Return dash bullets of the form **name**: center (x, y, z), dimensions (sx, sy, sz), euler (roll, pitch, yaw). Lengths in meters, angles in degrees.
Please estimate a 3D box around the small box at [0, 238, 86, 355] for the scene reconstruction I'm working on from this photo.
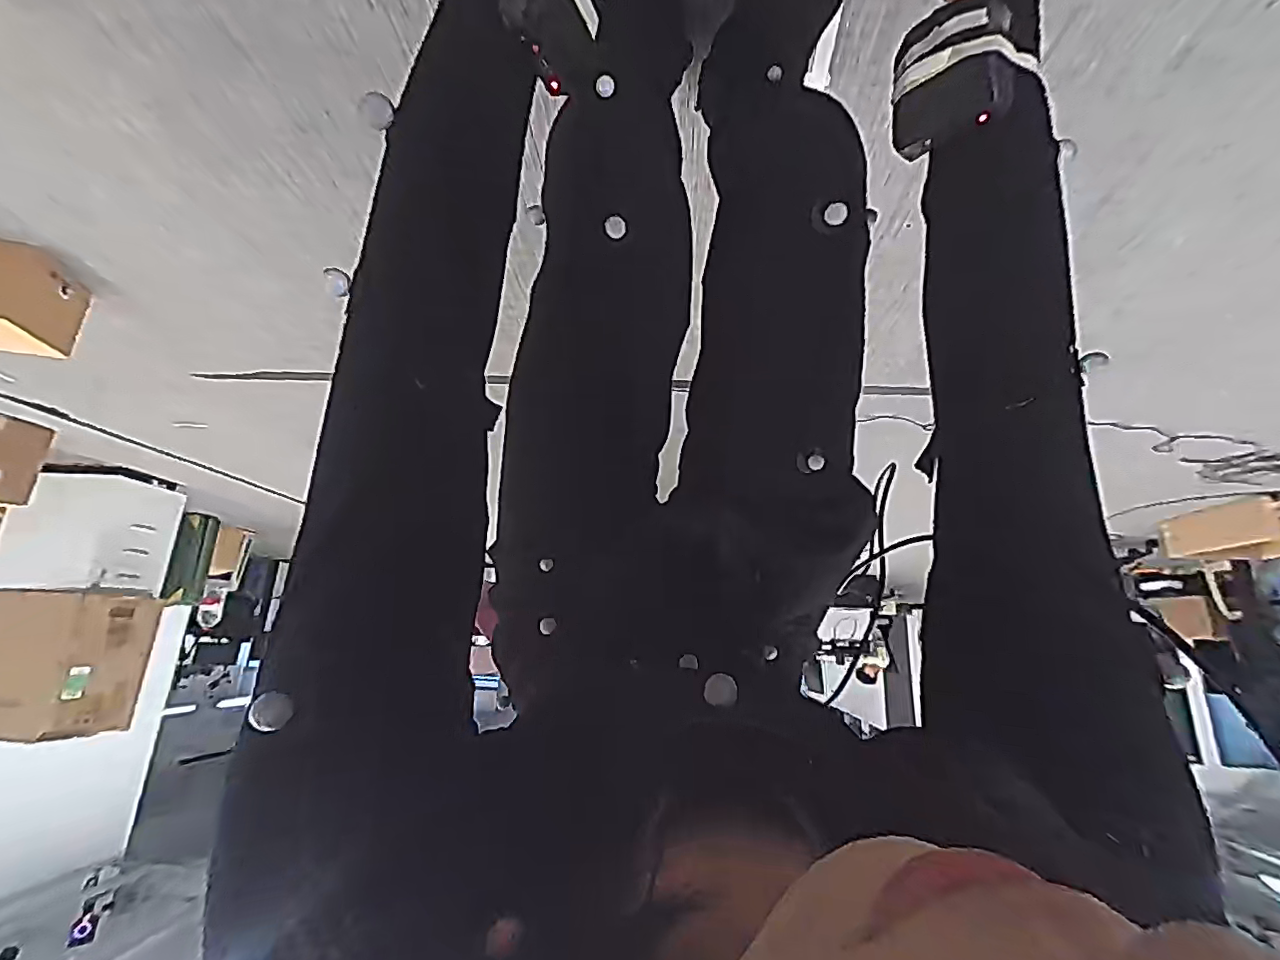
- **small box**: center (-1.298, -0.379, 1.093), dimensions (0.179, 0.176, 0.168), euler (5, 164, -12)
